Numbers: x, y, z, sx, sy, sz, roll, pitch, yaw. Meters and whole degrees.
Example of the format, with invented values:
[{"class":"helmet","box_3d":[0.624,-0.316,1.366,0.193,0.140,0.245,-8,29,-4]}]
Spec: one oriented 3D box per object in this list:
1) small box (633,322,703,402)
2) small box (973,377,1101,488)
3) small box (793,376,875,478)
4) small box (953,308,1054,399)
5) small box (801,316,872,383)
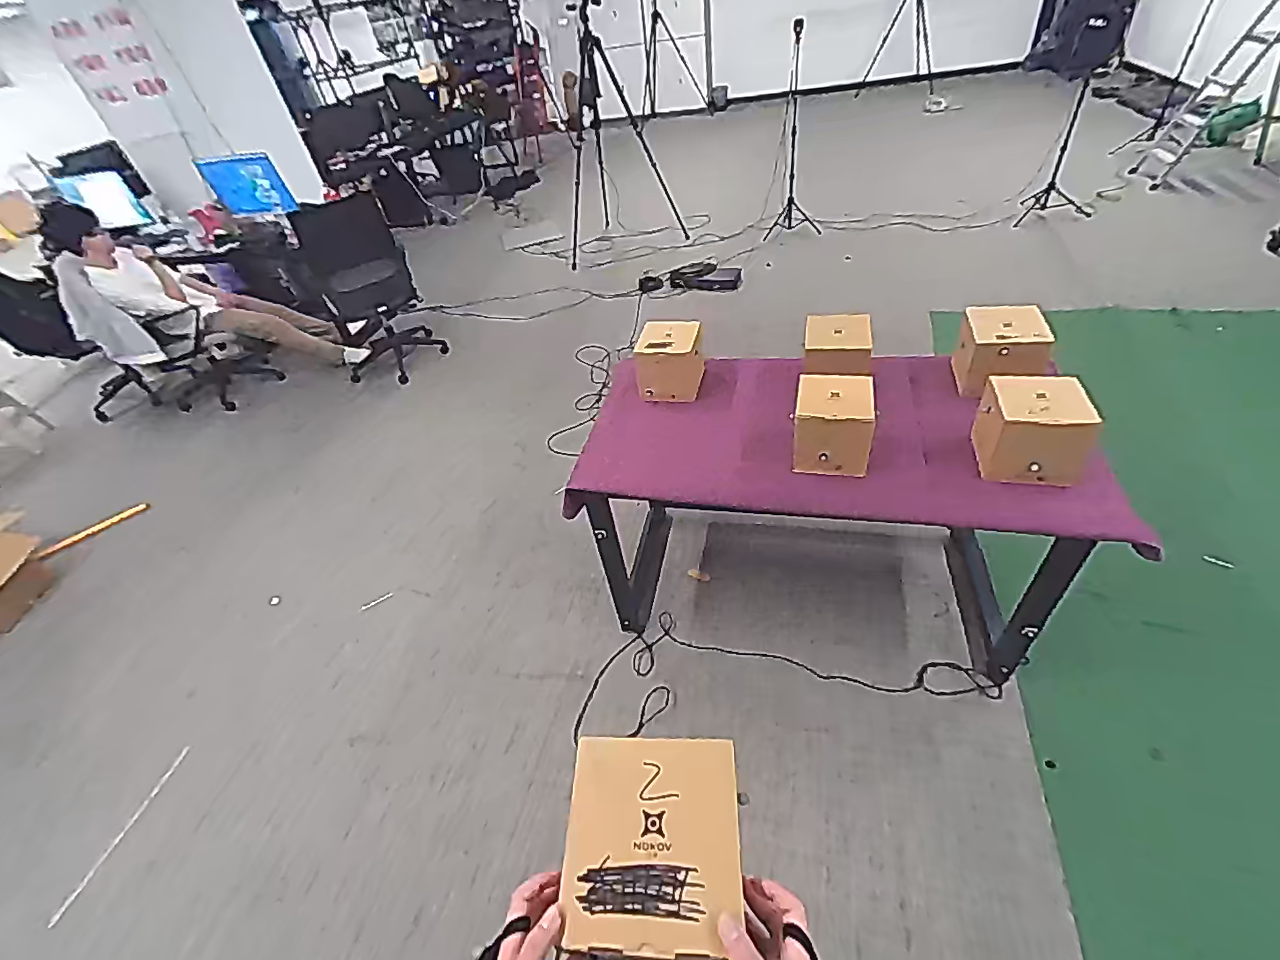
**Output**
[{"class":"small box","box_3d":[0.091,-0.346,1.591,0.168,0.176,0.179,5,45,16]},{"class":"small box","box_3d":[0.845,-0.105,1.174,0.168,0.176,0.179,4,43,18]},{"class":"small box","box_3d":[0.457,-0.128,1.285,0.168,0.176,0.179,5,44,16]},{"class":"small box","box_3d":[0.925,-0.325,1.395,0.168,0.176,0.179,3,45,17]},{"class":"small box","box_3d":[0.538,-0.333,1.490,0.168,0.176,0.179,5,46,17]}]
